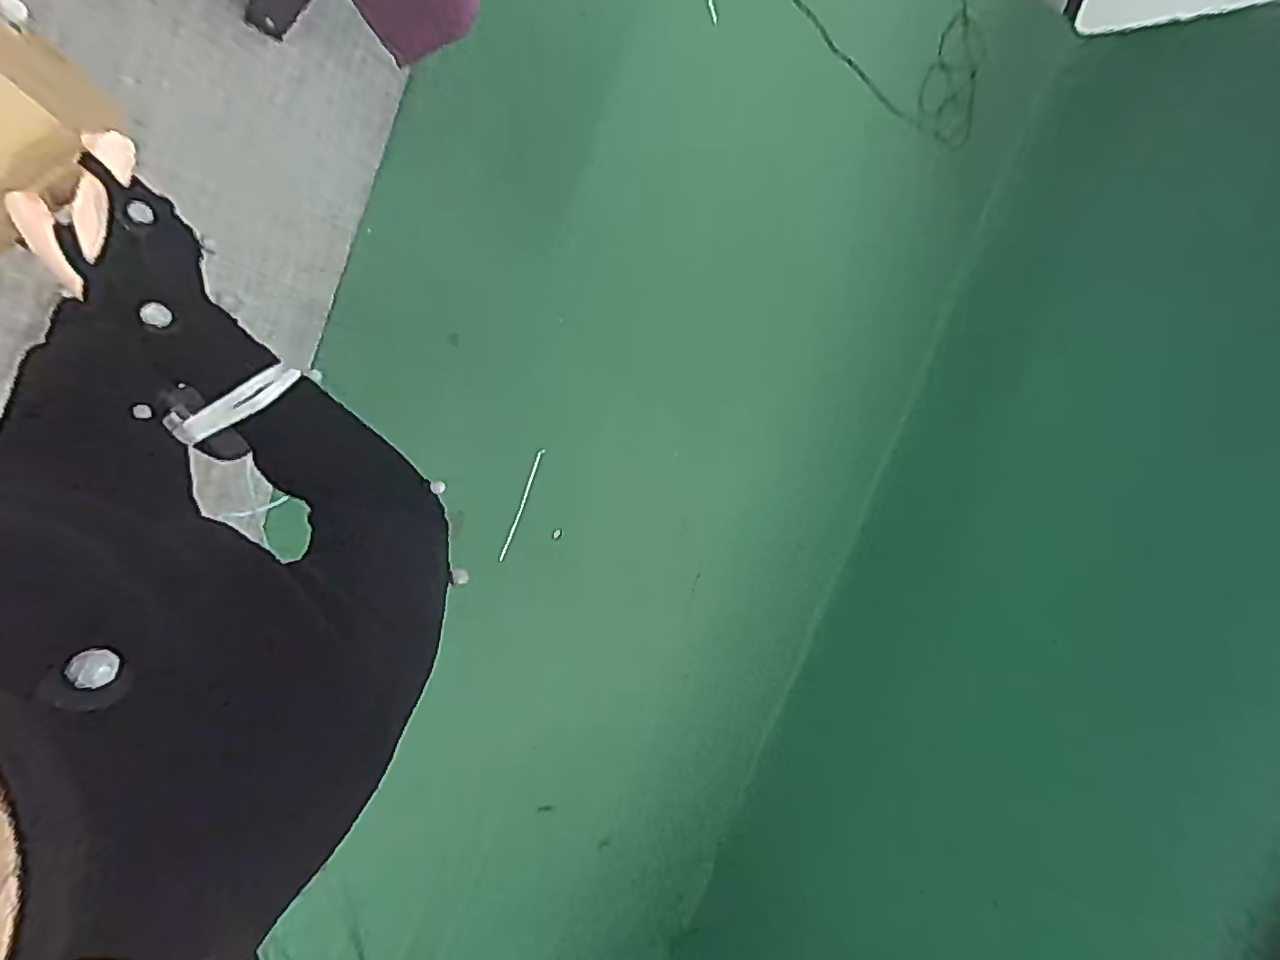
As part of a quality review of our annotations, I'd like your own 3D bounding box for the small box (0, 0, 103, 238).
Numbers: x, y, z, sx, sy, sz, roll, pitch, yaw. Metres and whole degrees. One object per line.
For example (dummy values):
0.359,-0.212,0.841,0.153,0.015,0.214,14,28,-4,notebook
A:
-0.512,-0.264,0.361,0.179,0.176,0.168,-39,146,-1,small box
